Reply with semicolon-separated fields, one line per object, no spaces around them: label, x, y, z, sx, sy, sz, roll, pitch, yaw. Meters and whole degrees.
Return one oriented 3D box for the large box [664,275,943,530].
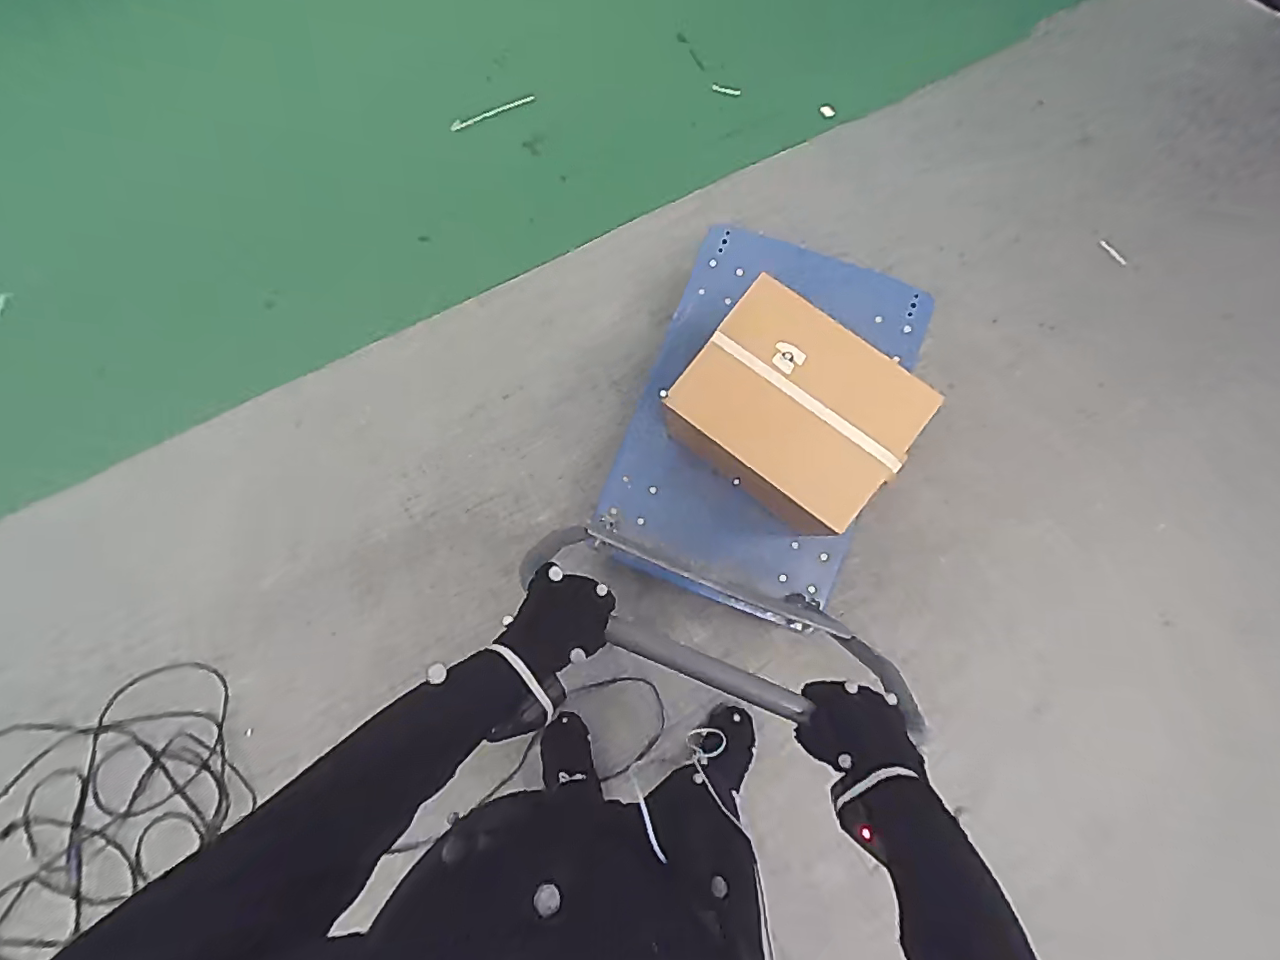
large box;0.307;-0.132;1.122;0.408;0.320;0.320;38;88;8
